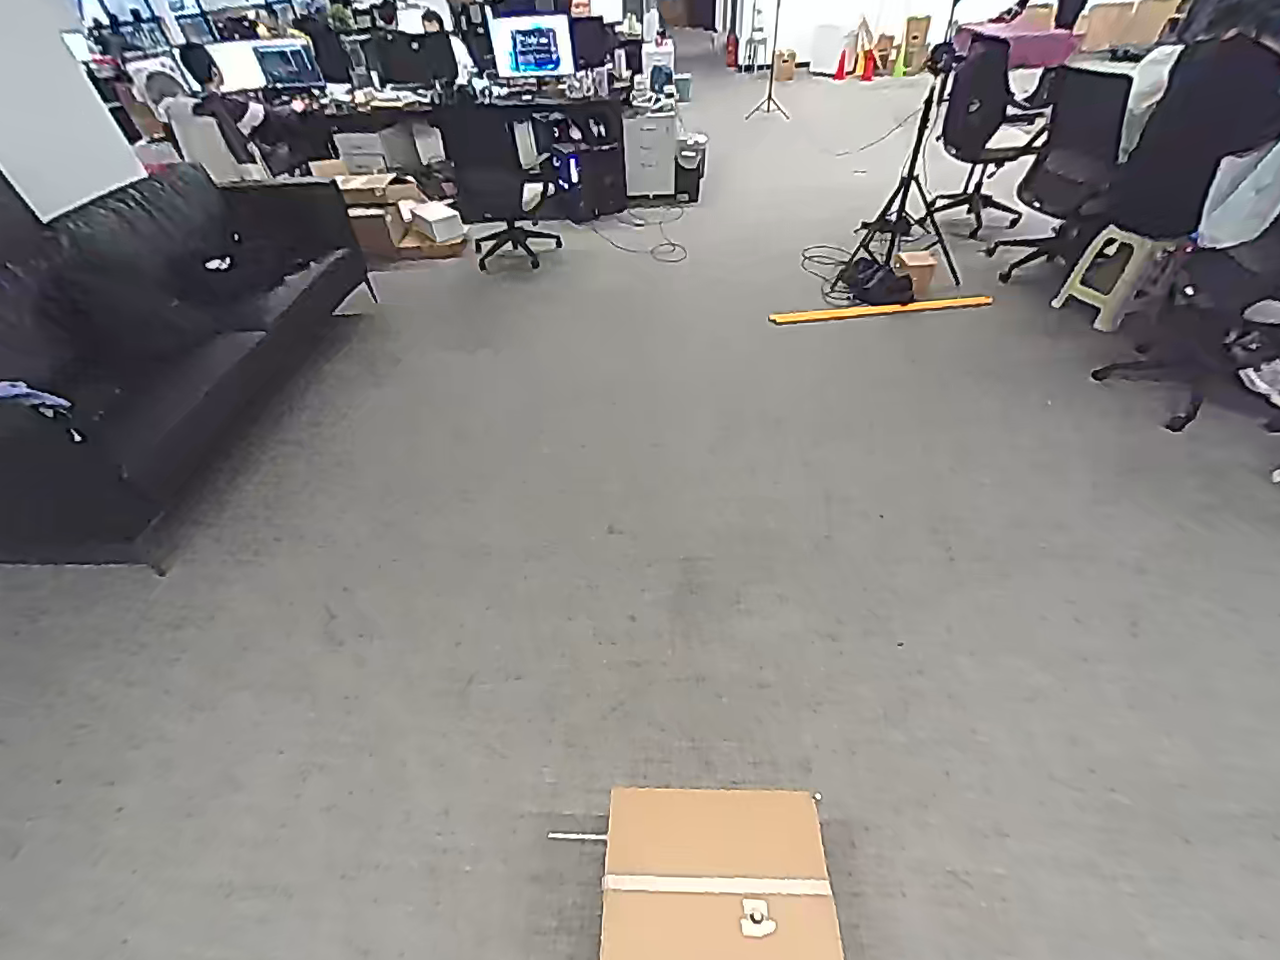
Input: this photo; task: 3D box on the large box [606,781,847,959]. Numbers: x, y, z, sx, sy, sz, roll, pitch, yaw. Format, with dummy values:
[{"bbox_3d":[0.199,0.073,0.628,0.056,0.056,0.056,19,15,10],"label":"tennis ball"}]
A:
[{"bbox_3d":[0.150,0.821,1.078,0.408,0.320,0.320,-1,44,4],"label":"large box"}]
